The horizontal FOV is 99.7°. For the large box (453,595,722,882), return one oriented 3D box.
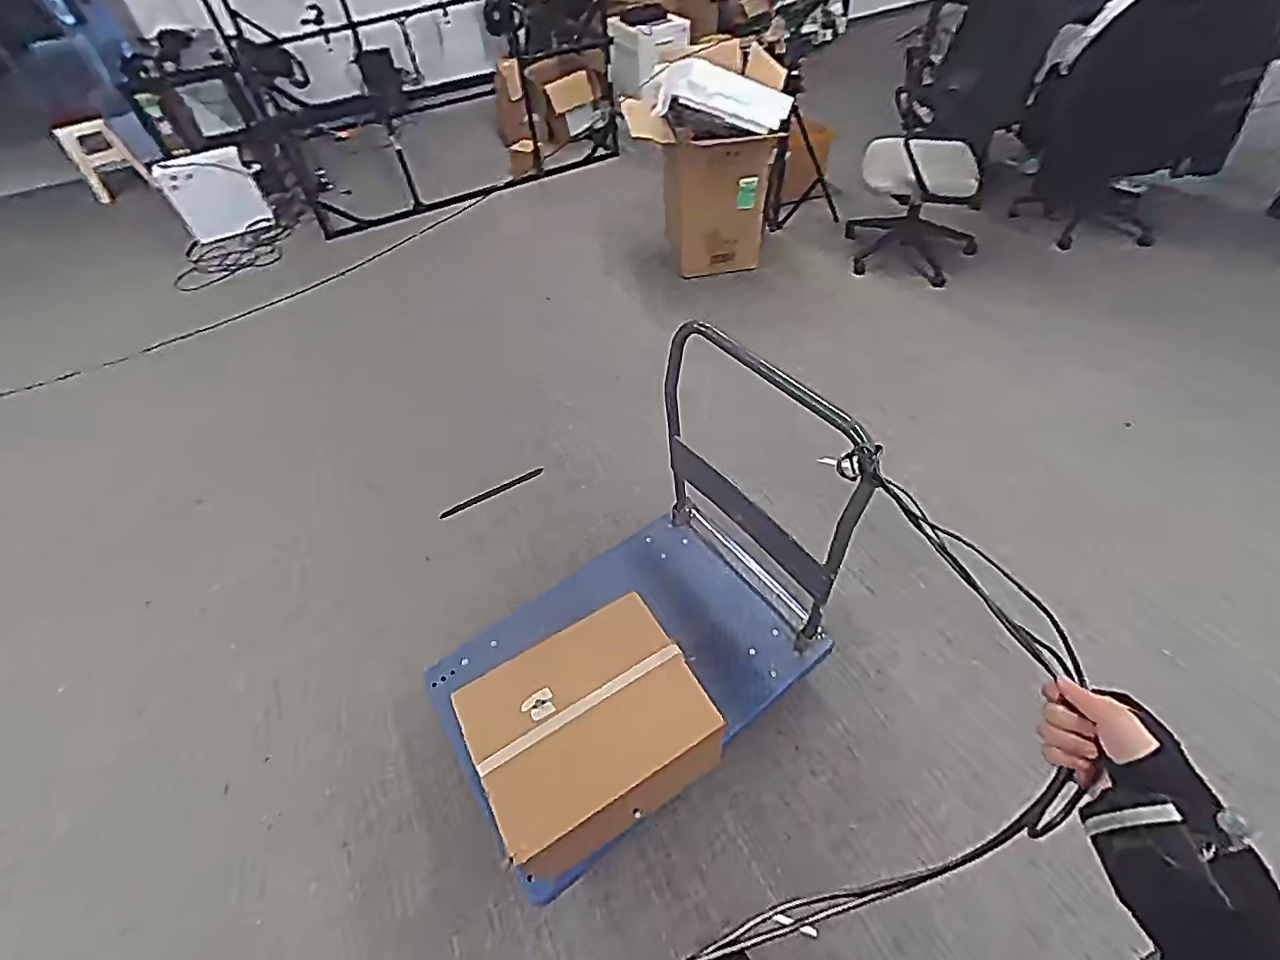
[{"bbox_3d":[-0.088,0.511,1.080,0.408,0.320,0.320,-27,52,-16],"label":"large box"}]
